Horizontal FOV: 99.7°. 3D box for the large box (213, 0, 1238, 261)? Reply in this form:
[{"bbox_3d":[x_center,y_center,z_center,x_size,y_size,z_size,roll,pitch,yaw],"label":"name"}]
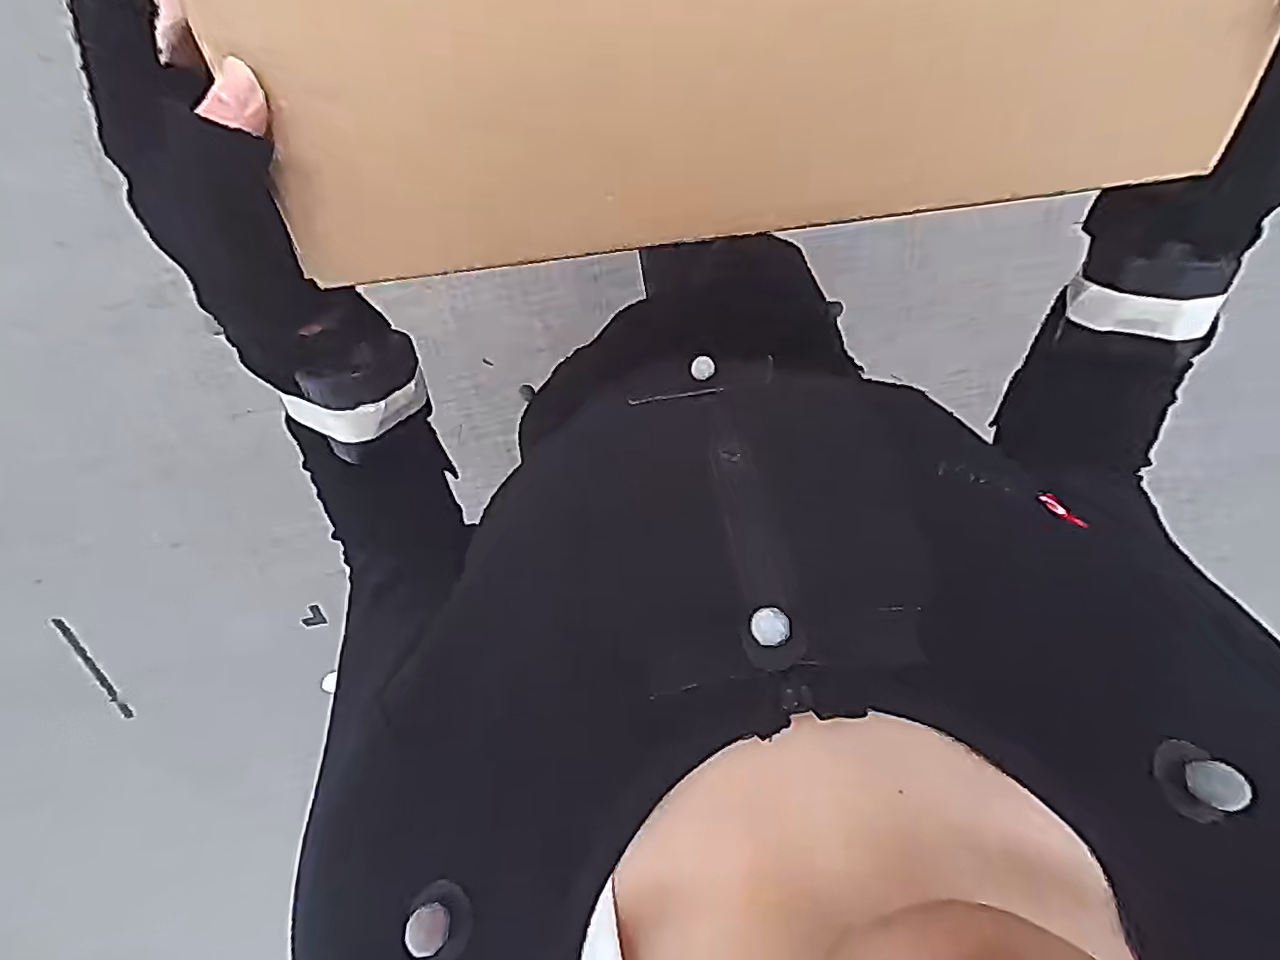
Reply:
[{"bbox_3d":[0.021,-0.338,0.282,0.408,0.320,0.320,-7,127,1],"label":"large box"}]
